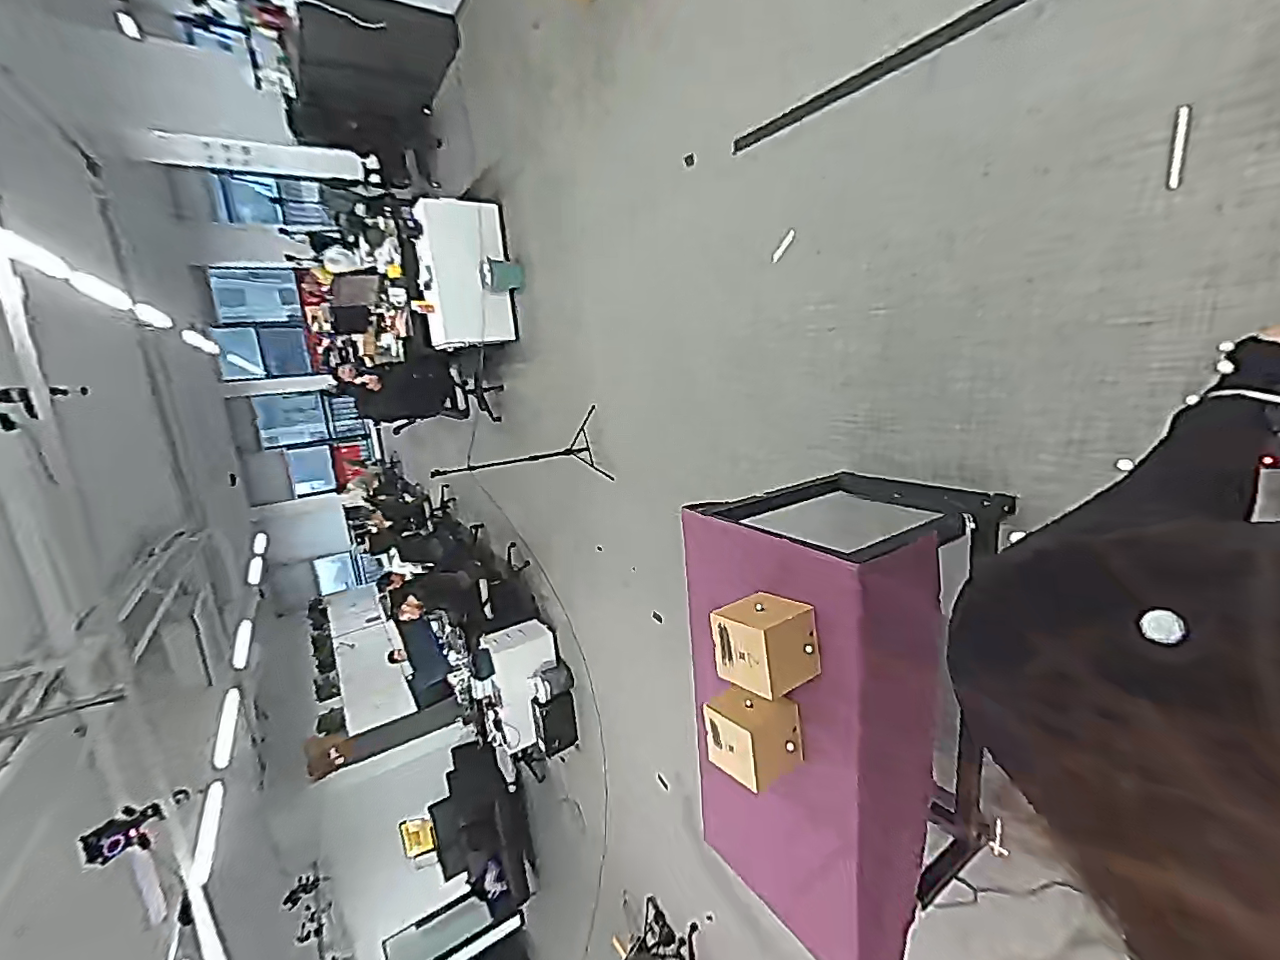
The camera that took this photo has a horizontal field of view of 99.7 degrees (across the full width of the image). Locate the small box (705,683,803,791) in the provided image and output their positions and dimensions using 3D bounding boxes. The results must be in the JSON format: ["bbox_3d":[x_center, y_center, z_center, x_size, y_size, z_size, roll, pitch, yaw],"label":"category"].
[{"bbox_3d":[0.292,0.647,1.391,0.179,0.176,0.168,6,106,57],"label":"small box"}]
